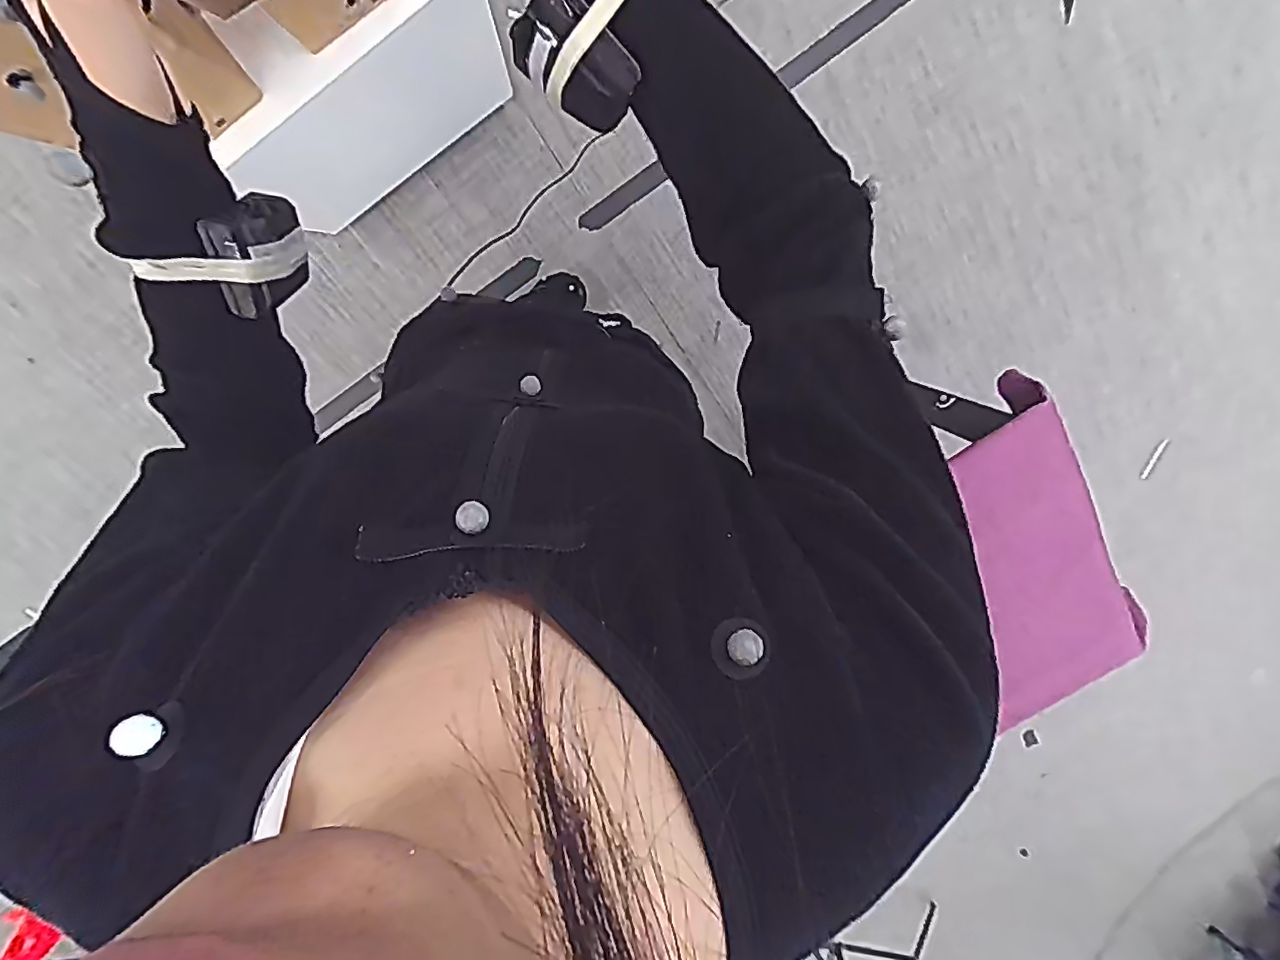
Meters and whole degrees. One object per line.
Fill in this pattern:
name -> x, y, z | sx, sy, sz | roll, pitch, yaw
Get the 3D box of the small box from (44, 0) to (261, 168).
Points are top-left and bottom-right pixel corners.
small box -> -0.568, -0.471, 0.575 | 0.168, 0.176, 0.179 | -33, 111, 6

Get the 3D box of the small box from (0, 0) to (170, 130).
small box -> -0.545, -0.413, 0.426 | 0.168, 0.176, 0.179 | -35, 111, 6
